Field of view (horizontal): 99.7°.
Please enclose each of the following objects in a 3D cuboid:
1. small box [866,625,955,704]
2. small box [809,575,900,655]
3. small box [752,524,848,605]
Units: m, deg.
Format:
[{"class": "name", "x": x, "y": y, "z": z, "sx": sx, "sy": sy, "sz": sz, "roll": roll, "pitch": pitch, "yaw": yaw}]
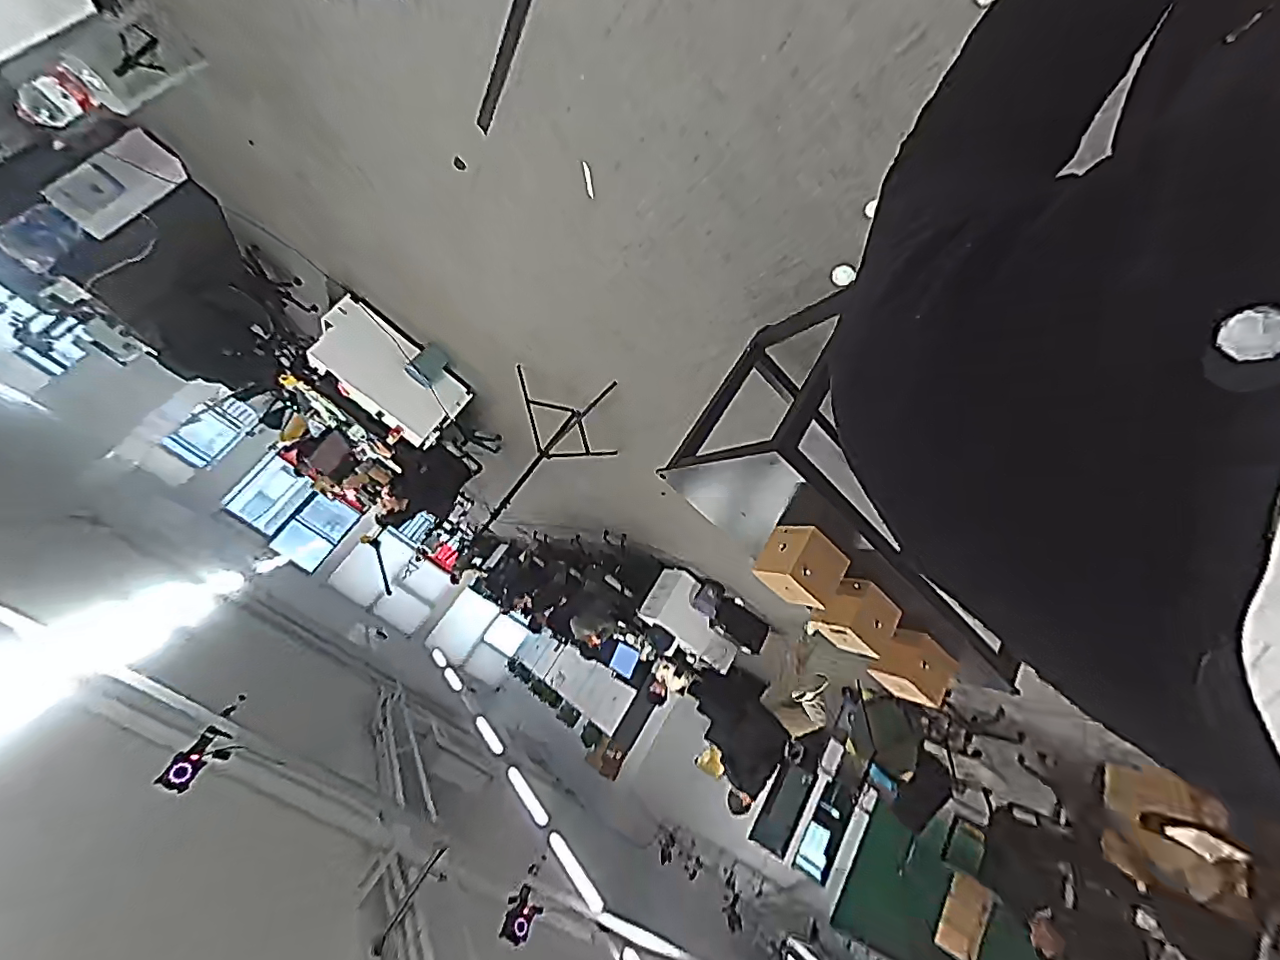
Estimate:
[{"class": "small box", "x": 0.882, "y": 0.590, "z": 1.761, "sx": 0.179, "sy": 0.176, "sz": 0.168, "roll": 40, "pitch": 161, "yaw": -16}, {"class": "small box", "x": 0.666, "y": 0.408, "z": 1.675, "sx": 0.179, "sy": 0.176, "sz": 0.168, "roll": 41, "pitch": 160, "yaw": -20}, {"class": "small box", "x": 0.472, "y": 0.241, "z": 1.588, "sx": 0.179, "sy": 0.176, "sz": 0.168, "roll": 41, "pitch": 160, "yaw": -18}]
